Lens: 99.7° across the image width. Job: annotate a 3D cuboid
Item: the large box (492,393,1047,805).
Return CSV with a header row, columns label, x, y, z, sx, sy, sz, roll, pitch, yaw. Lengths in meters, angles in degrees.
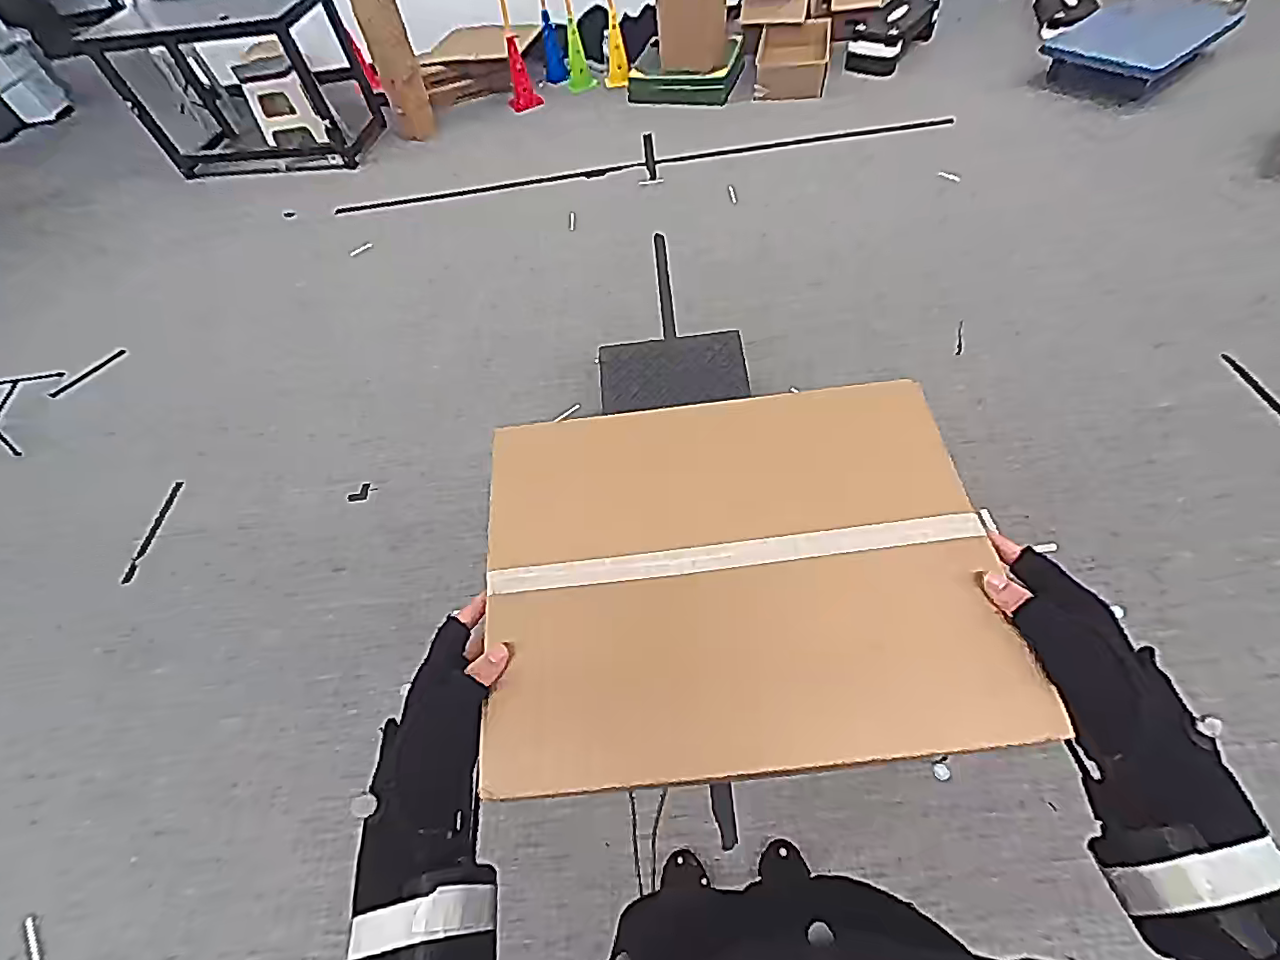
label,x,y,z,sx,sy,sz,roll,pitch,yaw
large box,0.088,0.143,0.581,0.408,0.320,0.320,-7,60,1
